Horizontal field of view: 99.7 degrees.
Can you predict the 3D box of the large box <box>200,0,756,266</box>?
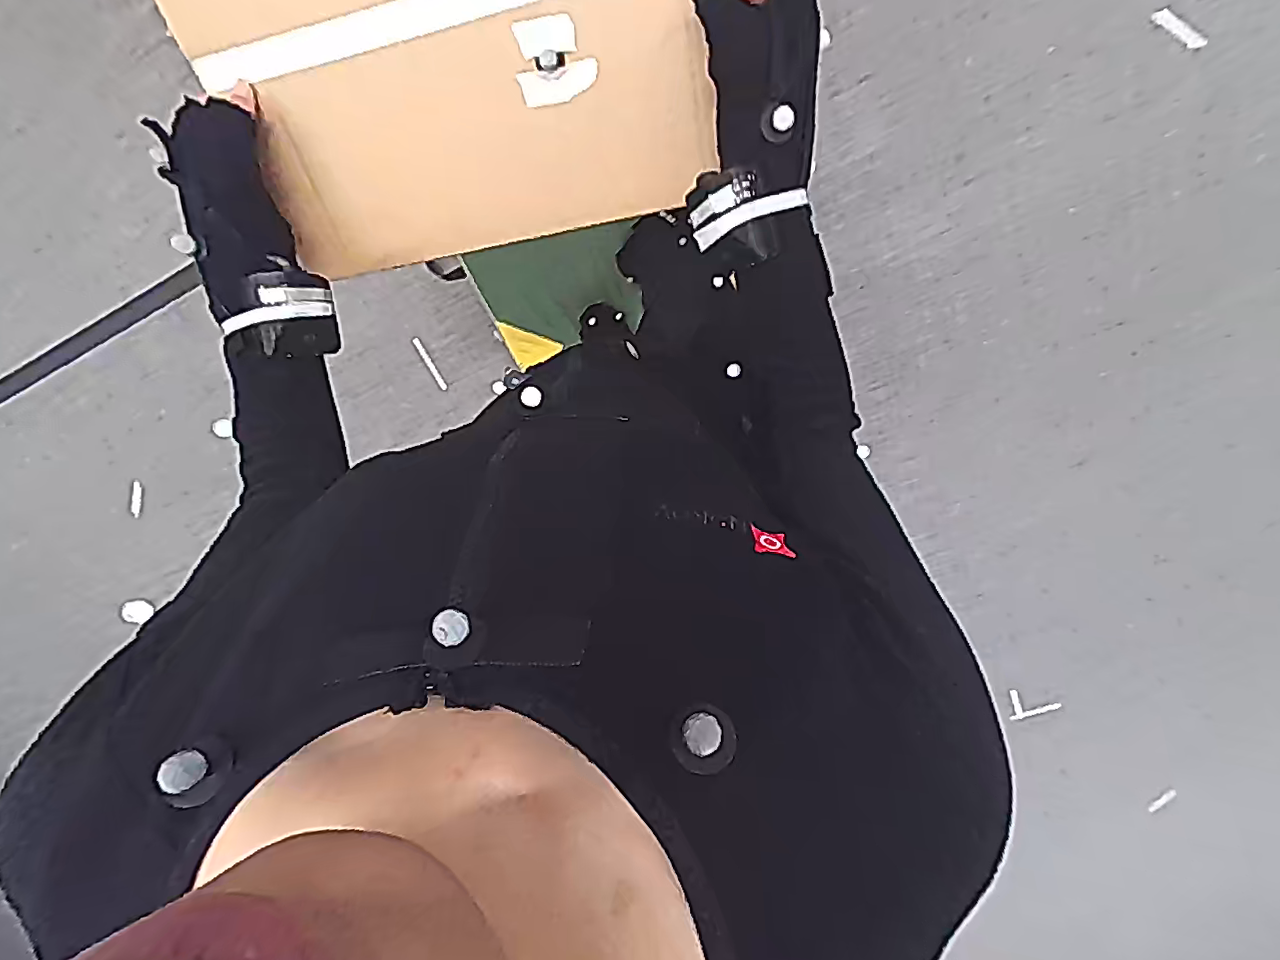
[{"bbox_3d":[-0.122,-0.432,0.520,0.408,0.320,0.320,-8,123,8],"label":"large box"}]
